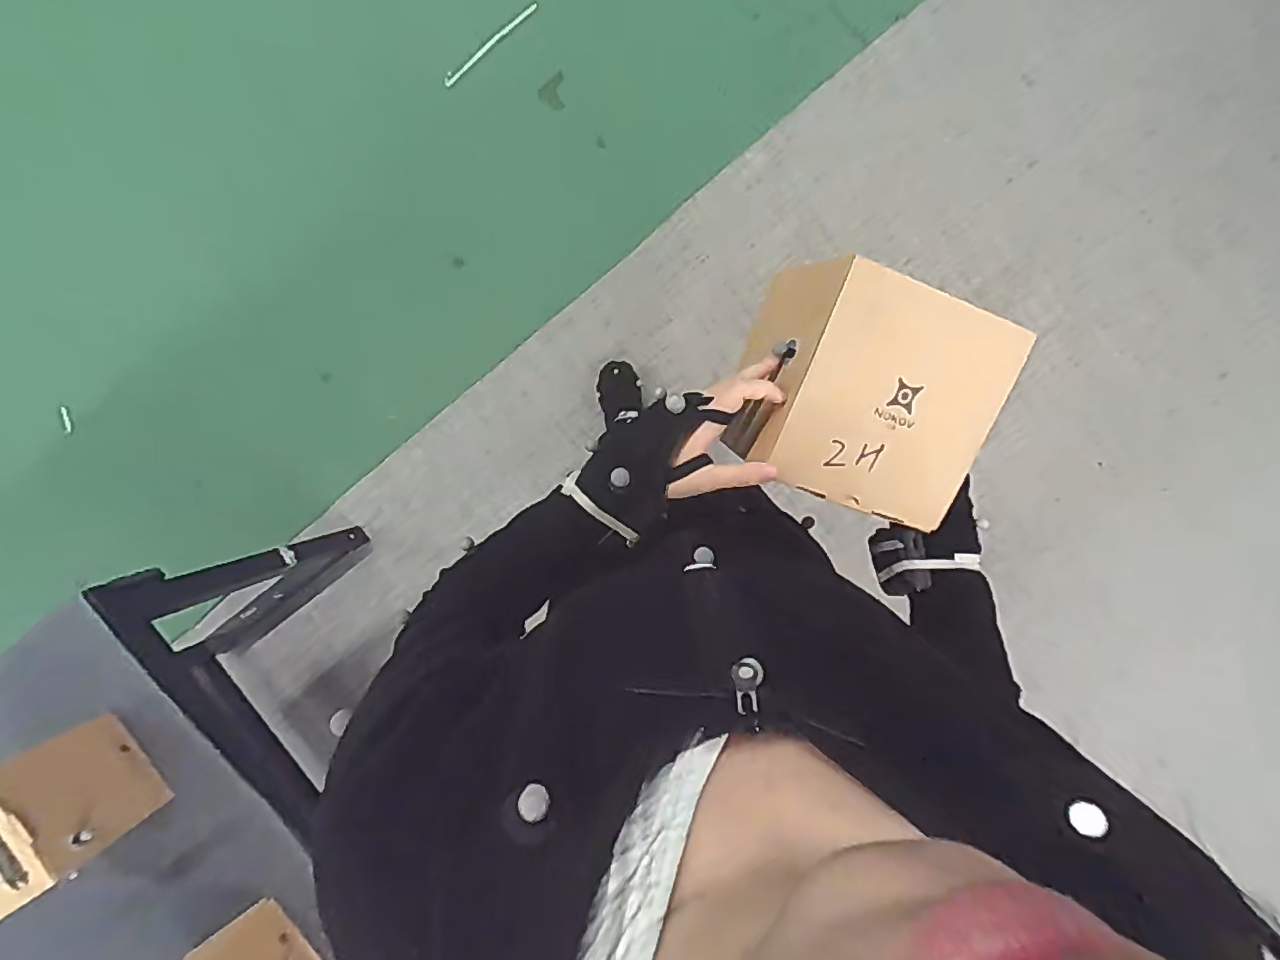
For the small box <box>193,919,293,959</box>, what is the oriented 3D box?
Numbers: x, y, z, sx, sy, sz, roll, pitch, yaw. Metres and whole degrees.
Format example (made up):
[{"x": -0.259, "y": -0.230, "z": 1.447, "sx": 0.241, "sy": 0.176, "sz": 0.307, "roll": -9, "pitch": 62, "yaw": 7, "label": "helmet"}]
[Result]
[{"x": -0.601, "y": 0.774, "z": 0.742, "sx": 0.179, "sy": 0.176, "sz": 0.168, "roll": -37, "pitch": 92, "yaw": 3, "label": "small box"}]

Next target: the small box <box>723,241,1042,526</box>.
[{"x": 0.193, "y": -0.085, "z": 0.487, "sx": 0.168, "sy": 0.176, "sz": 0.179, "roll": 18, "pitch": 102, "yaw": -12, "label": "small box"}]
